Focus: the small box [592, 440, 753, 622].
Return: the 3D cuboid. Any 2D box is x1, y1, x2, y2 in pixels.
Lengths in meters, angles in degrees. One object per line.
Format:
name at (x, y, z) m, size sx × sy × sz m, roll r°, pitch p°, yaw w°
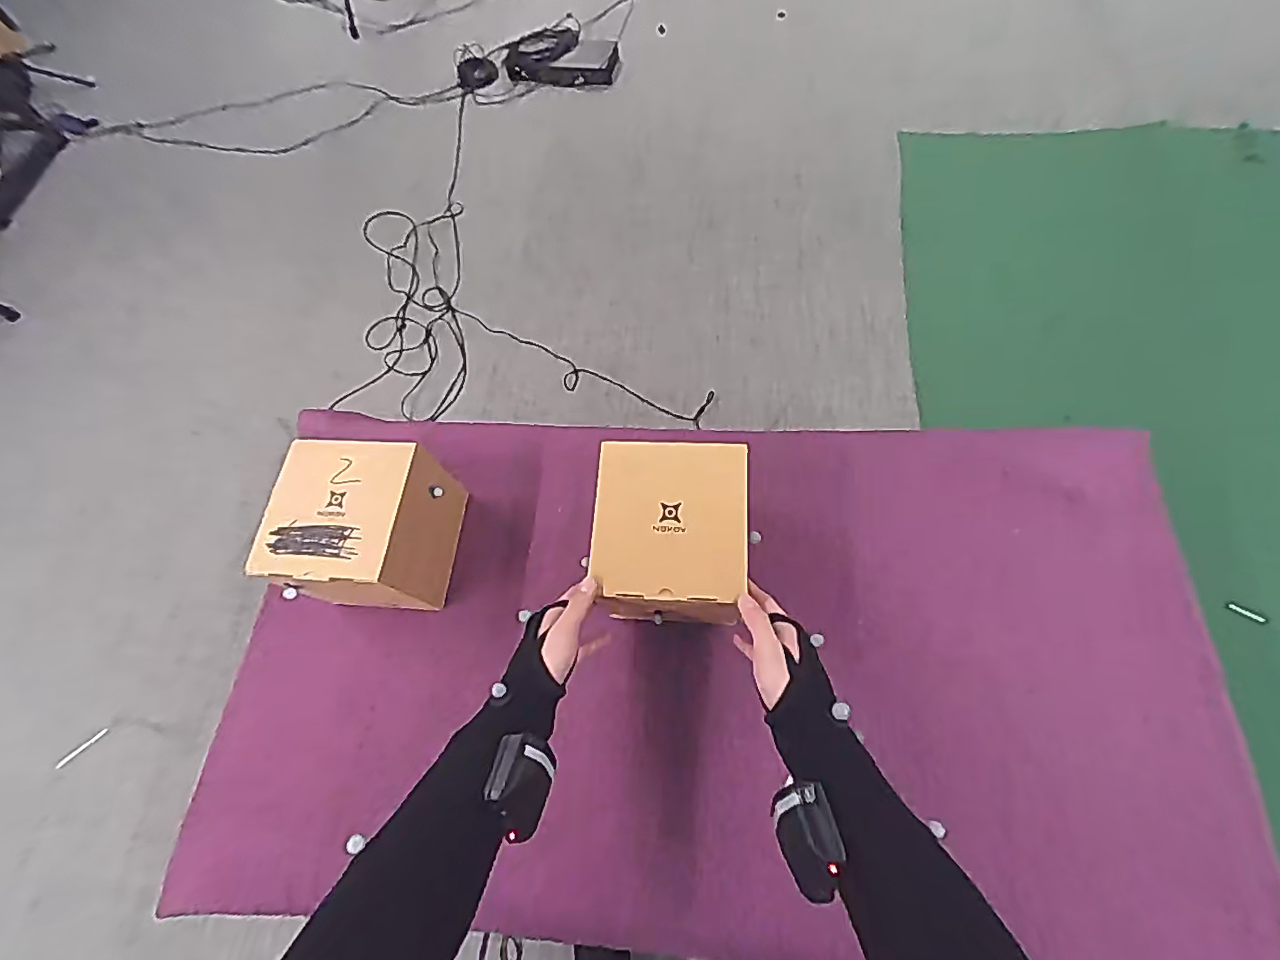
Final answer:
small box at (0.043, 0.068, 0.651) m, size 0.168 × 0.176 × 0.179 m, roll 2°, pitch 70°, yaw 6°
